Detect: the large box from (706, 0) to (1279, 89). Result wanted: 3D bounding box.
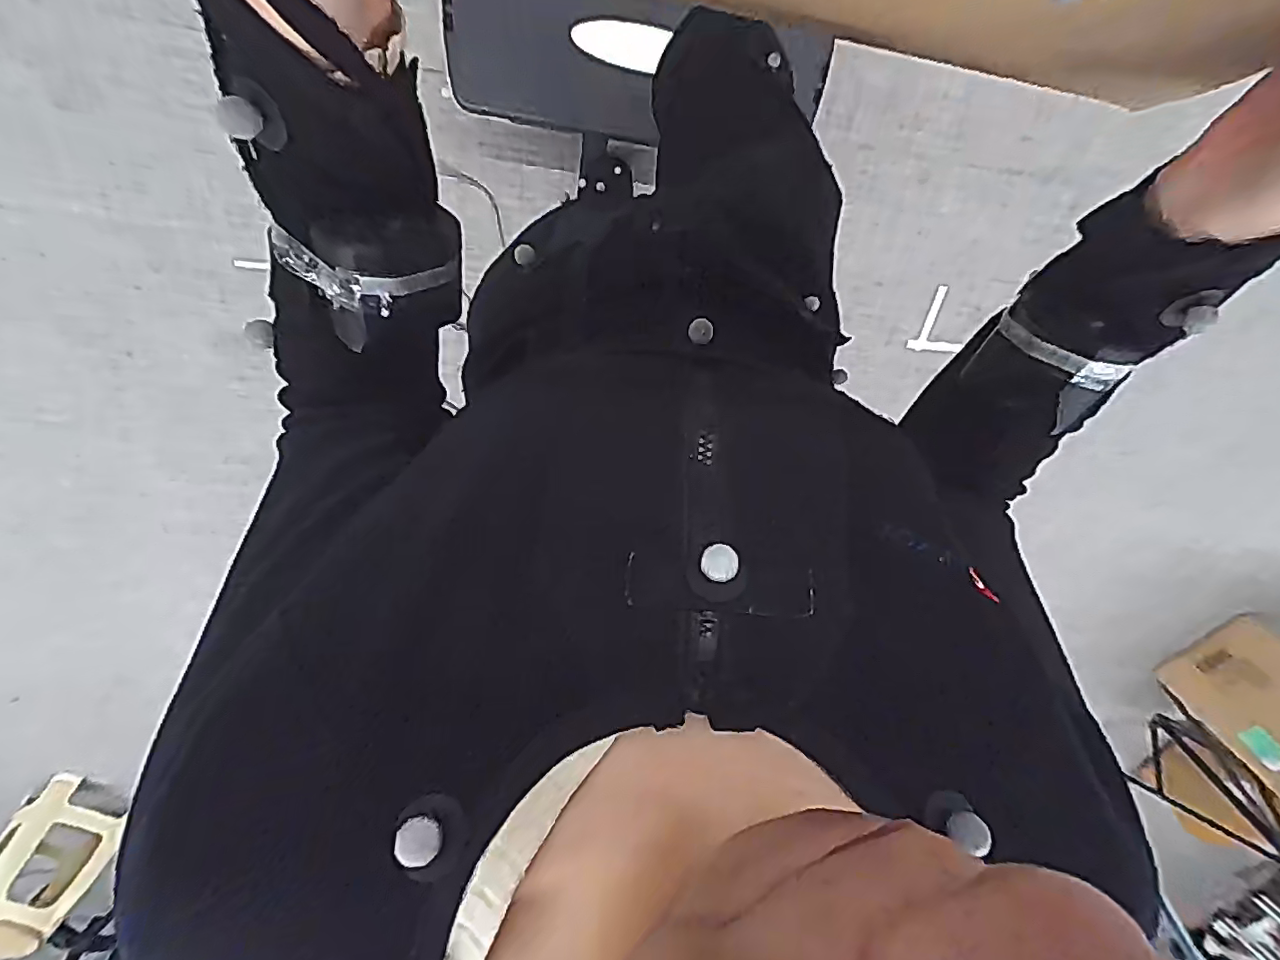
[{"bbox_3d":[0.110,-0.327,0.088,0.408,0.320,0.320,6,111,-7],"label":"large box"}]
